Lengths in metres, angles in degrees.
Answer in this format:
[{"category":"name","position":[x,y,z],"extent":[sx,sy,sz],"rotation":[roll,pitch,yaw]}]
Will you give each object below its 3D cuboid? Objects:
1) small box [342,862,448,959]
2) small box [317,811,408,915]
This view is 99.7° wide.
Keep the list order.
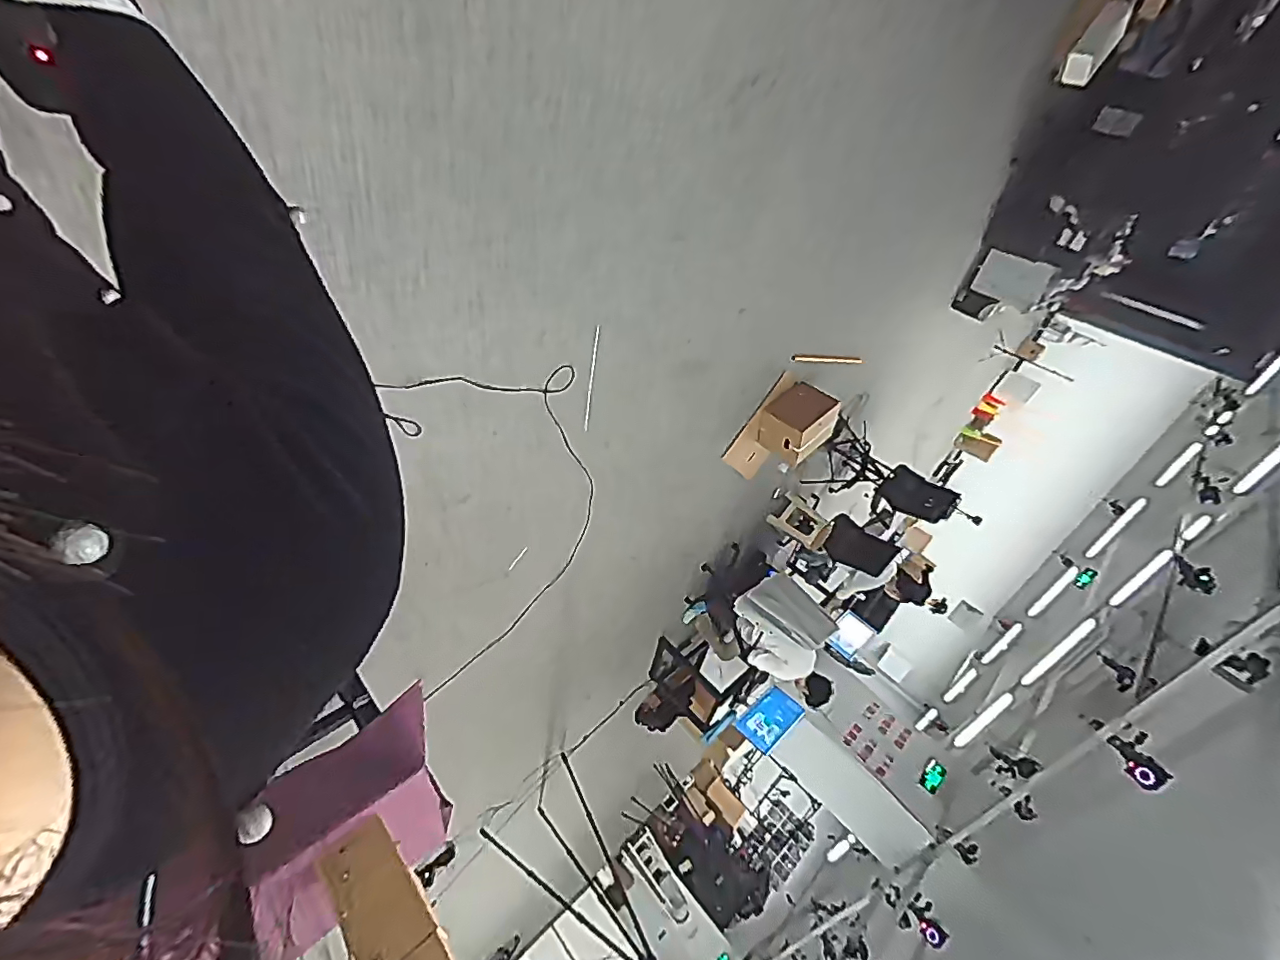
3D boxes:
[{"category":"small box","position":[-0.614,1.113,1.361],"extent":[0.179,0.176,0.168],"rotation":[-28,144,-32]},{"category":"small box","position":[-0.728,1.025,1.437],"extent":[0.168,0.176,0.179],"rotation":[-28,144,-34]}]
